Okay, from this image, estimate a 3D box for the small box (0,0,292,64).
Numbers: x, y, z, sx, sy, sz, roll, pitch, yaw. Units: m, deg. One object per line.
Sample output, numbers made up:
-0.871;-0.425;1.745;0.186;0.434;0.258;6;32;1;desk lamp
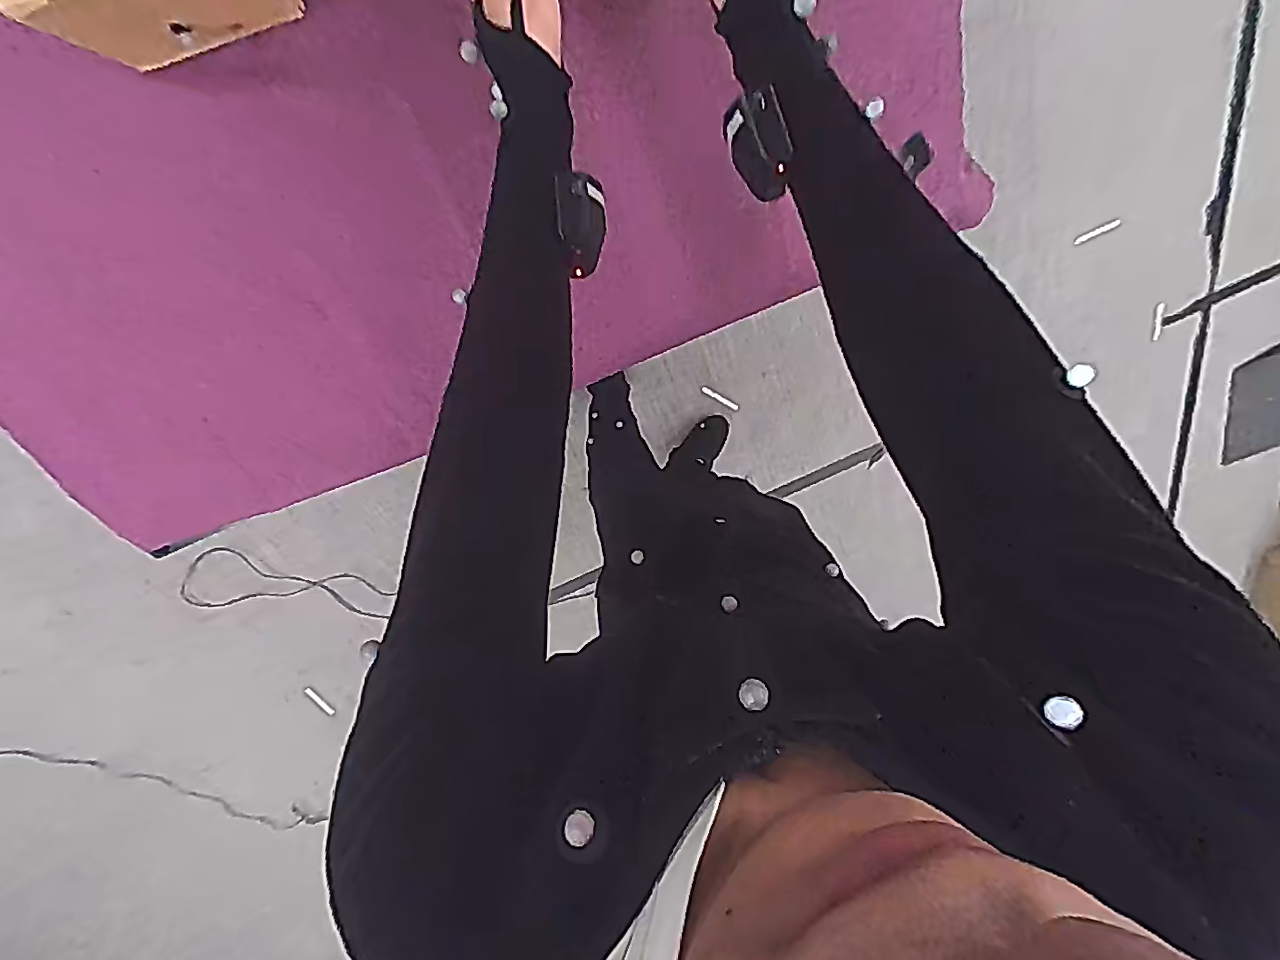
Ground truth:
-0.408;-0.455;0.403;0.168;0.176;0.179;-23;120;-3;small box
